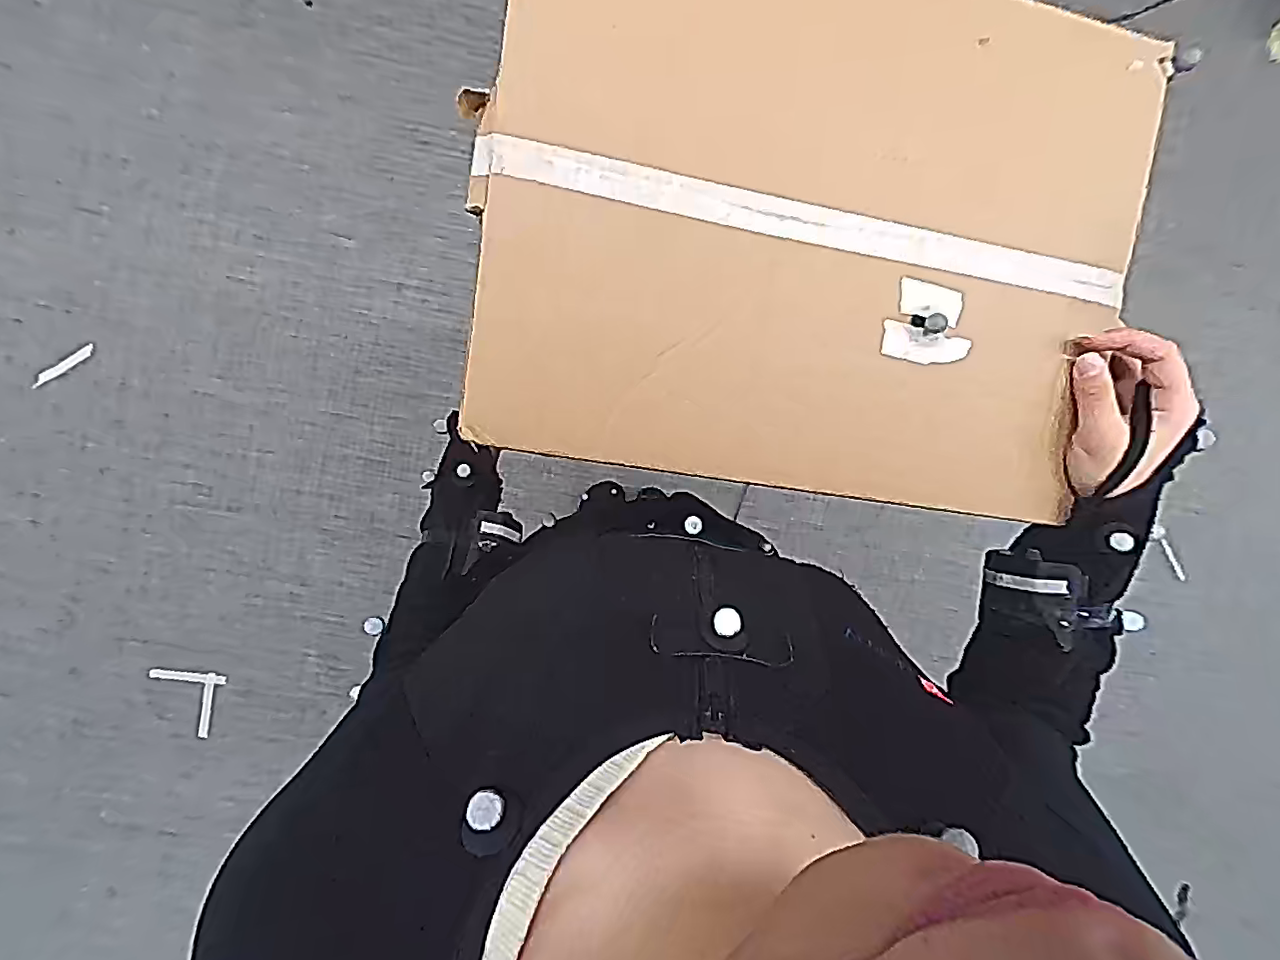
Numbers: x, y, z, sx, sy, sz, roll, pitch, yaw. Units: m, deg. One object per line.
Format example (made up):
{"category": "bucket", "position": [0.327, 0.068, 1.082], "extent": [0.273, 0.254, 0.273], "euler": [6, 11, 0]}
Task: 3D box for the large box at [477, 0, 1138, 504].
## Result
{"category": "large box", "position": [0.091, -0.170, 0.479], "extent": [0.408, 0.320, 0.320], "euler": [7, 96, -11]}
